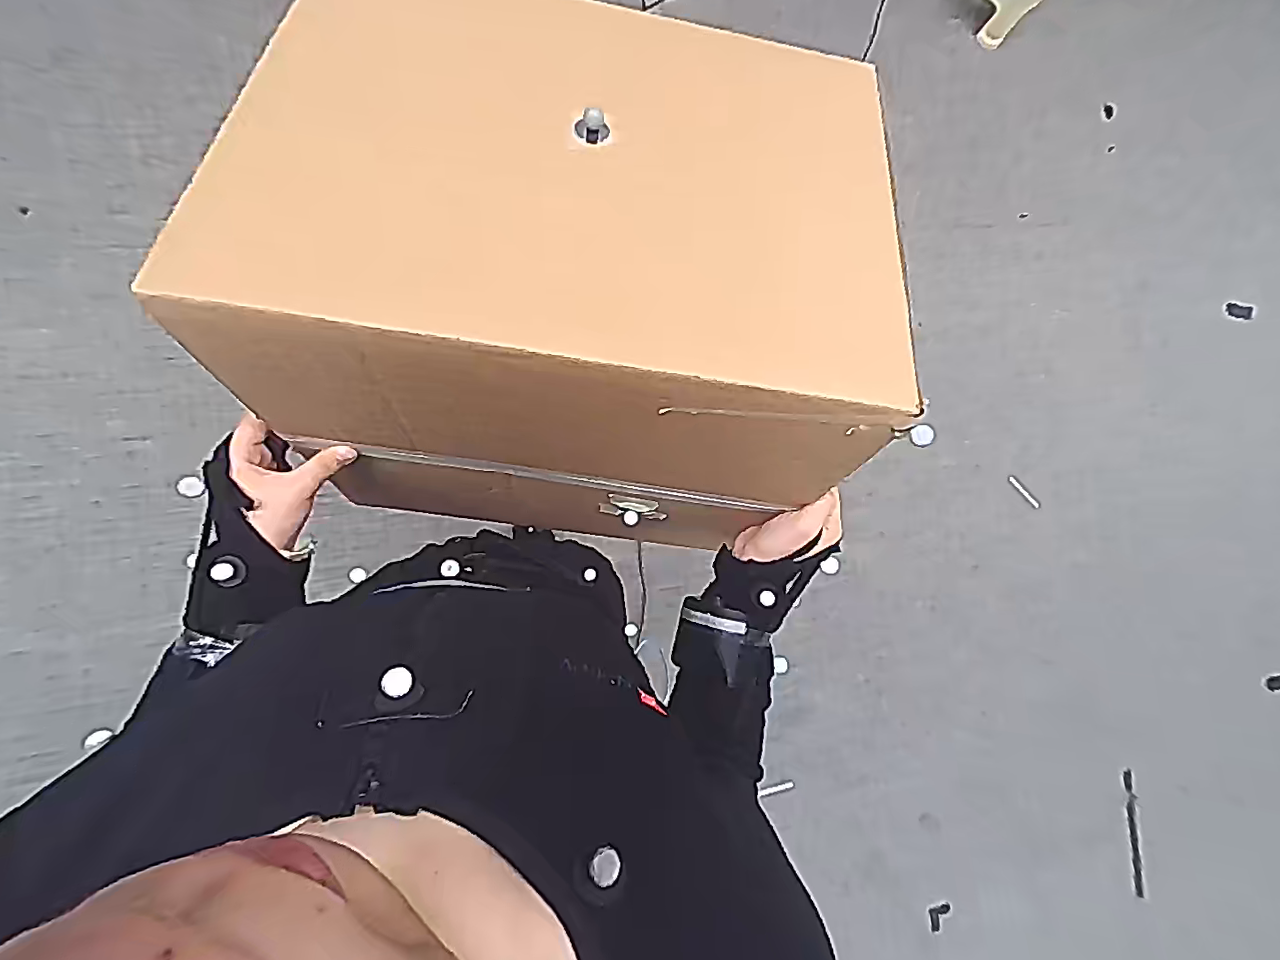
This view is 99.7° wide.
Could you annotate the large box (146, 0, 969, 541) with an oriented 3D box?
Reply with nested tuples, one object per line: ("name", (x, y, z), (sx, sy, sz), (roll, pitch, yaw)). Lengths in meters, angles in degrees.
("large box", (-0.037, -0.157, 0.451), (0.408, 0.320, 0.320), (7, 68, -5))
